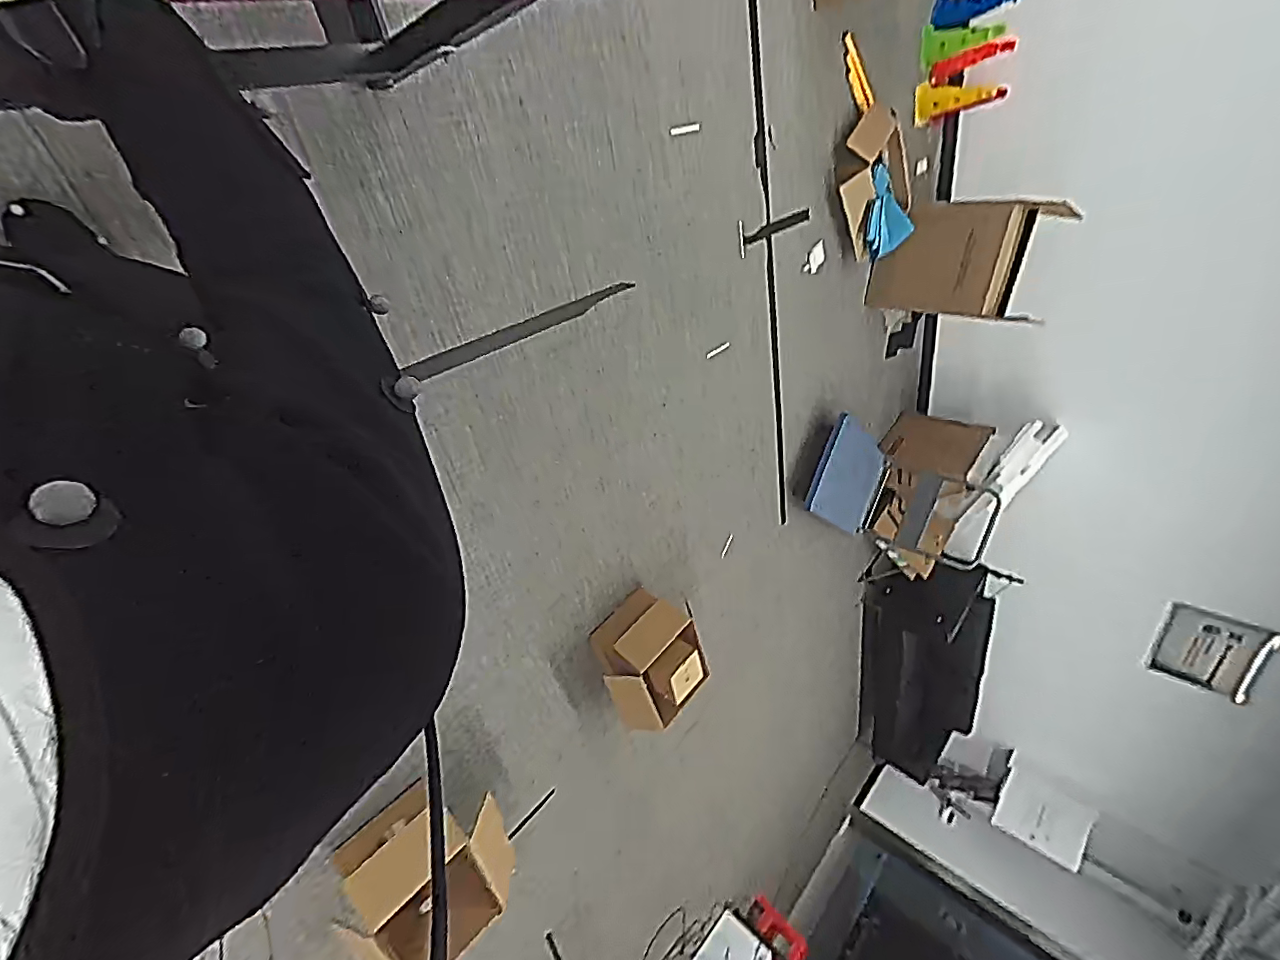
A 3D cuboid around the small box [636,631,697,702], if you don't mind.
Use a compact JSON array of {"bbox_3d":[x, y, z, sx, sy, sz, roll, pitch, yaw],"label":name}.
[{"bbox_3d":[0.107,0.748,2.187,0.168,0.176,0.179,-38,130,-32],"label":"small box"}]
